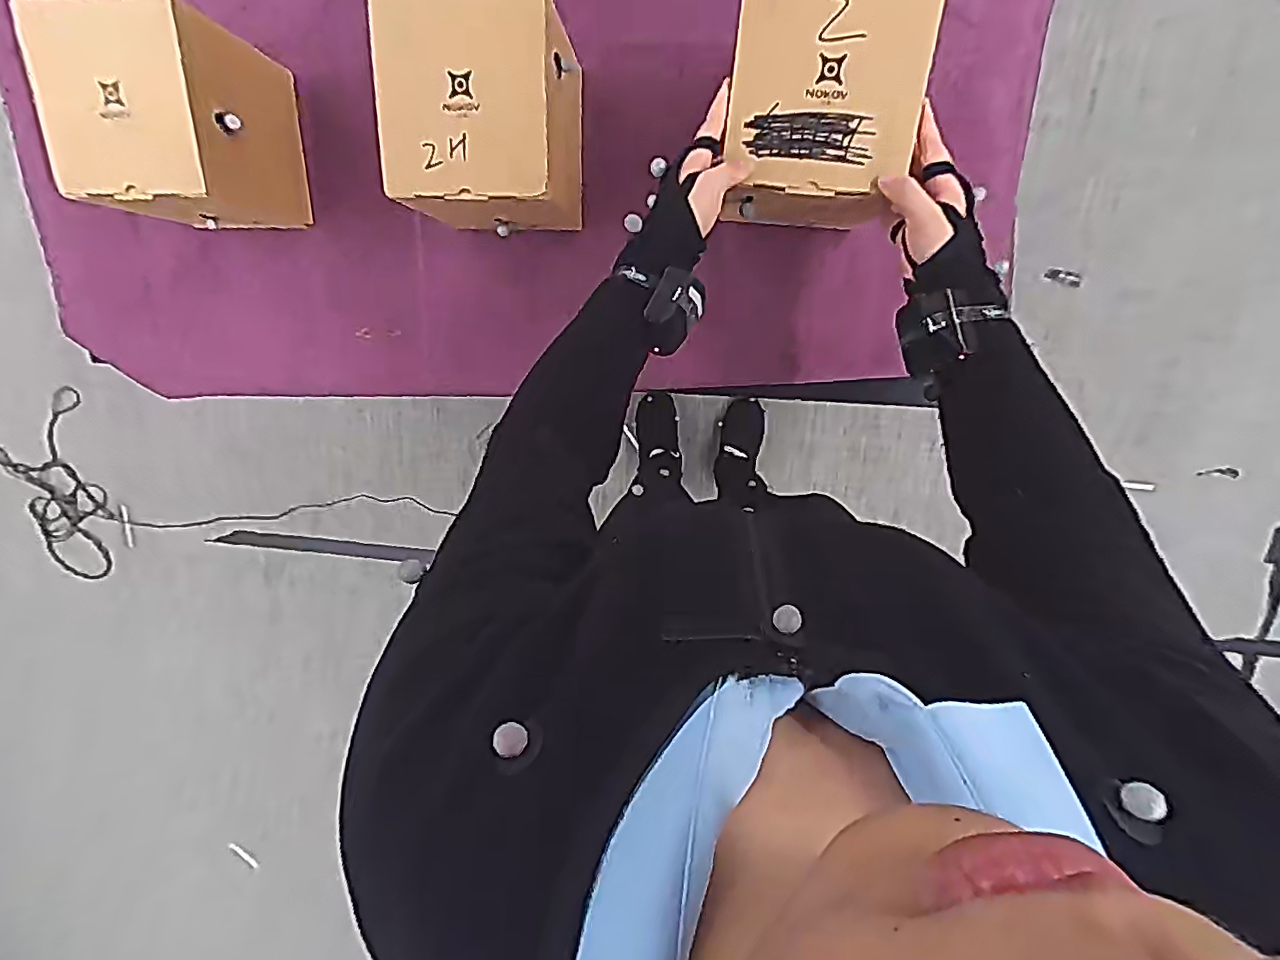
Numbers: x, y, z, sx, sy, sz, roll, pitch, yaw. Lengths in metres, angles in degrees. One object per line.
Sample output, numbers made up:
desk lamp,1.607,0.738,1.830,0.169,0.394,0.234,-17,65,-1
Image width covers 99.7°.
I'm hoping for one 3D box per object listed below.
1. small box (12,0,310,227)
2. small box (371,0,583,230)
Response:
small box,-0.510,-0.396,0.607,0.168,0.176,0.179,2,107,4
small box,-0.158,-0.379,0.577,0.168,0.176,0.179,3,106,5
